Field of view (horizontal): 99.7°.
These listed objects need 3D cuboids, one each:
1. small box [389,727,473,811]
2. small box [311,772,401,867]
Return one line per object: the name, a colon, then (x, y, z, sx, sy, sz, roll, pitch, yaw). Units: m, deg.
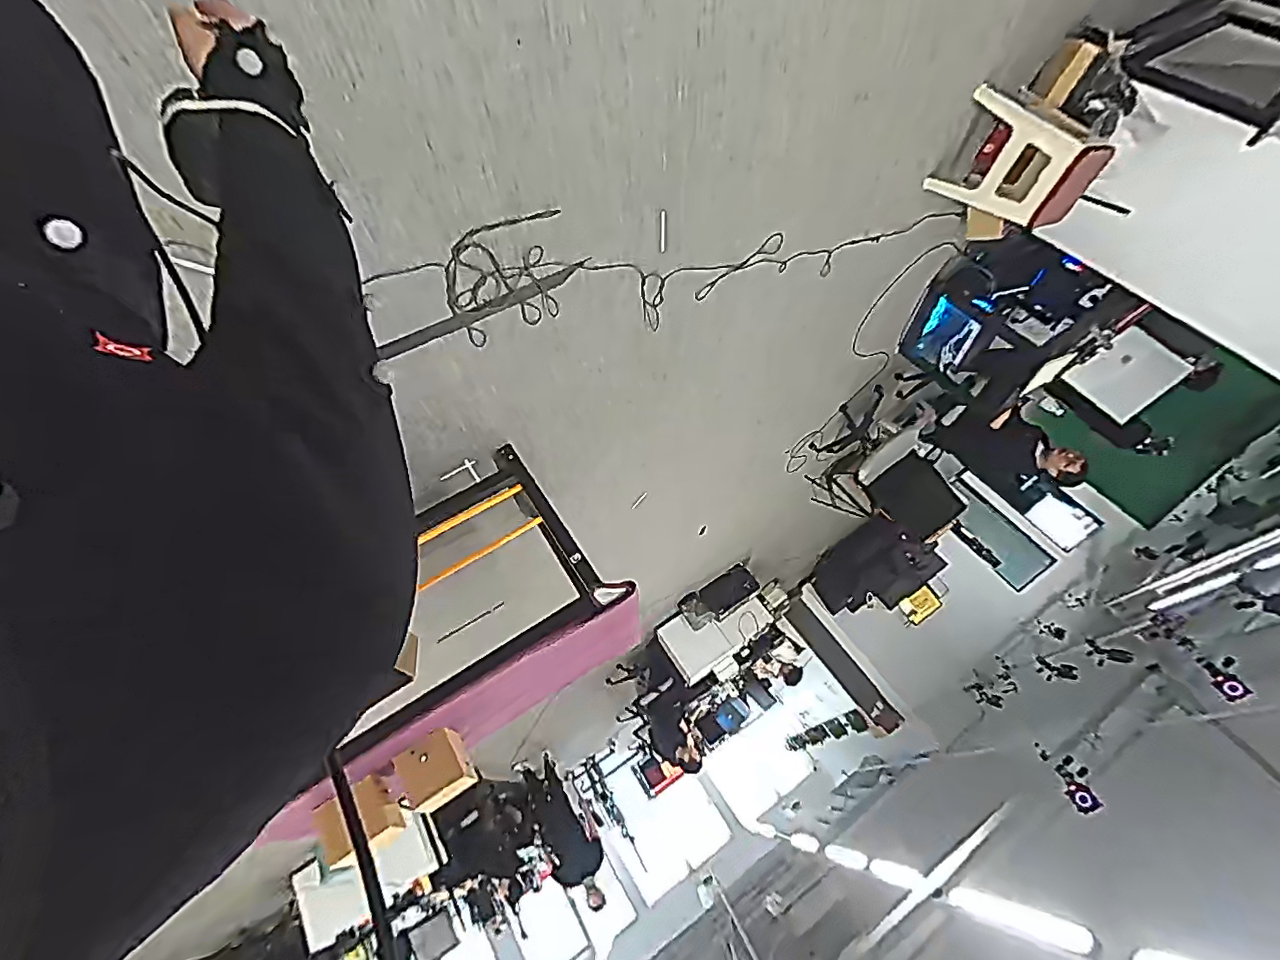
small box: (-0.648, 0.897, 1.683, 0.168, 0.176, 0.179, -30, 153, -18)
small box: (-0.850, 1.008, 1.611, 0.179, 0.176, 0.168, -29, 154, -20)
